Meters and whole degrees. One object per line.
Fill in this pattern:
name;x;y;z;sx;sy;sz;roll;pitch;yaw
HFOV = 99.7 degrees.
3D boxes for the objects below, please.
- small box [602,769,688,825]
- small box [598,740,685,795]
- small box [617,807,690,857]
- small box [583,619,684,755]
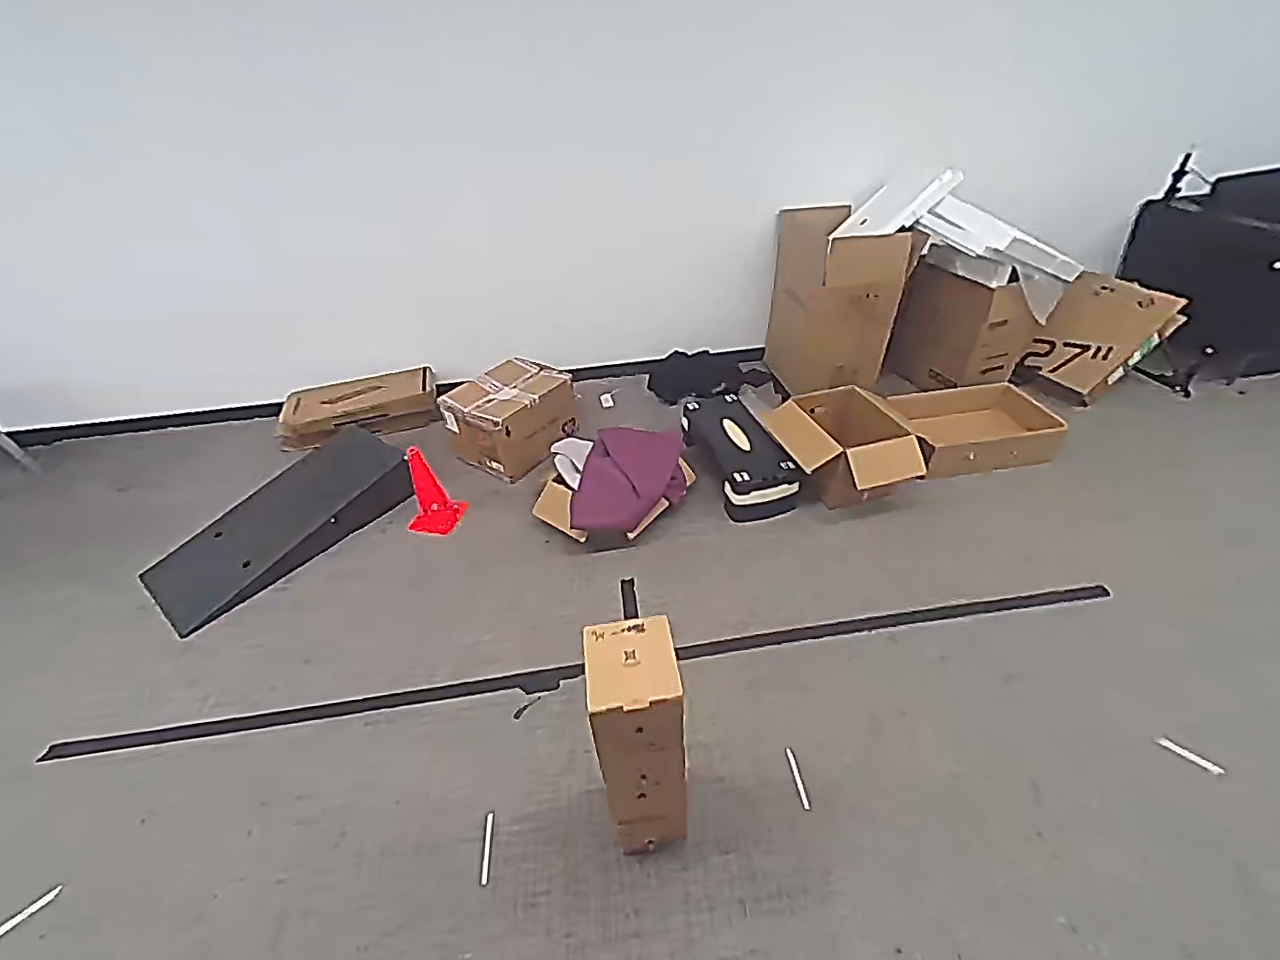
small box;0.009;0.648;1.217;0.179;0.176;0.168;-8;39;-4
small box;0.002;0.518;1.117;0.168;0.176;0.179;-6;39;-1
small box;0.019;0.777;1.319;0.168;0.176;0.179;-11;40;-7
small box;-0.012;0.392;1.013;0.168;0.176;0.179;-8;39;-3
